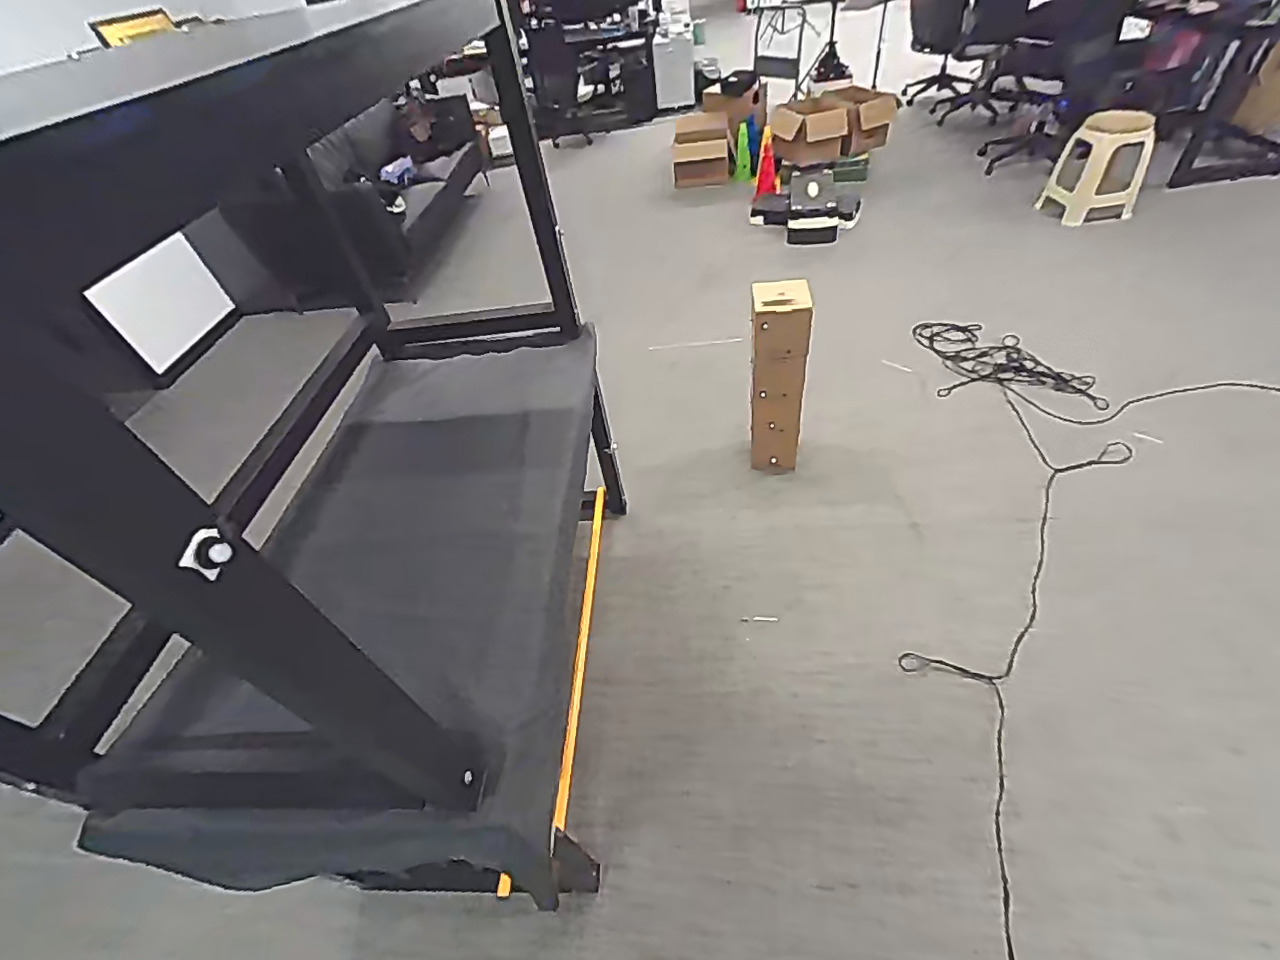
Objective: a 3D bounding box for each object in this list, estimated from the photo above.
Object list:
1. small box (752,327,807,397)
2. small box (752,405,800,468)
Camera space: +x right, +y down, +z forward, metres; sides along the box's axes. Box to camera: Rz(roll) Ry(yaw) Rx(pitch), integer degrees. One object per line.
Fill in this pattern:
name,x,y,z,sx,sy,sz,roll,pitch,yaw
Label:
small box,0.462,-0.389,1.807,0.168,0.176,0.179,-1,46,10
small box,0.509,-0.165,2.039,0.168,0.176,0.179,0,47,12
